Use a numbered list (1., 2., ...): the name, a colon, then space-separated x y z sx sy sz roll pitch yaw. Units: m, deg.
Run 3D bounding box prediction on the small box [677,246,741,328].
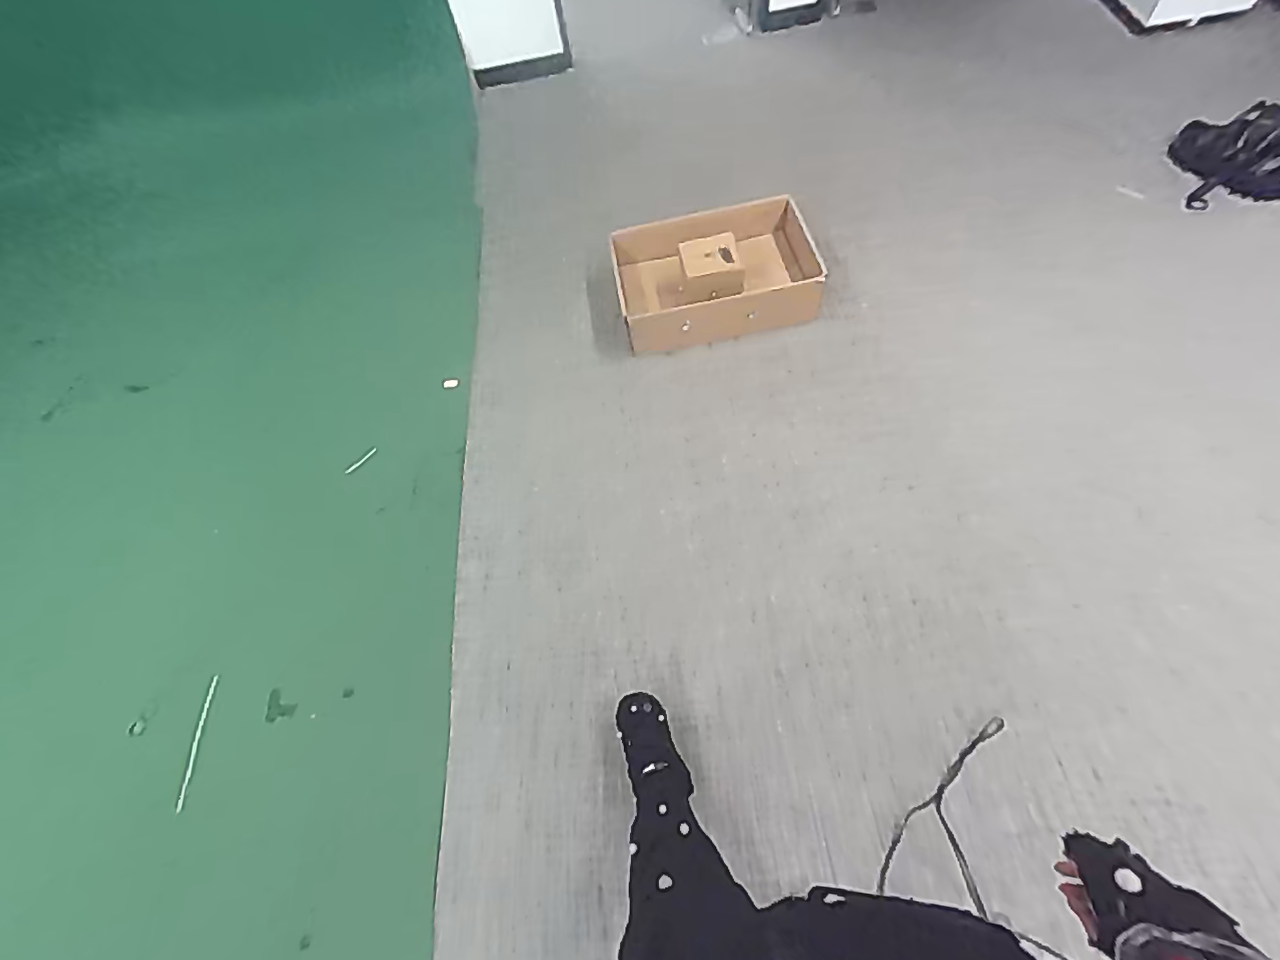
1. small box: 0.221 -0.618 1.741 0.179 0.176 0.168 -10 60 3
